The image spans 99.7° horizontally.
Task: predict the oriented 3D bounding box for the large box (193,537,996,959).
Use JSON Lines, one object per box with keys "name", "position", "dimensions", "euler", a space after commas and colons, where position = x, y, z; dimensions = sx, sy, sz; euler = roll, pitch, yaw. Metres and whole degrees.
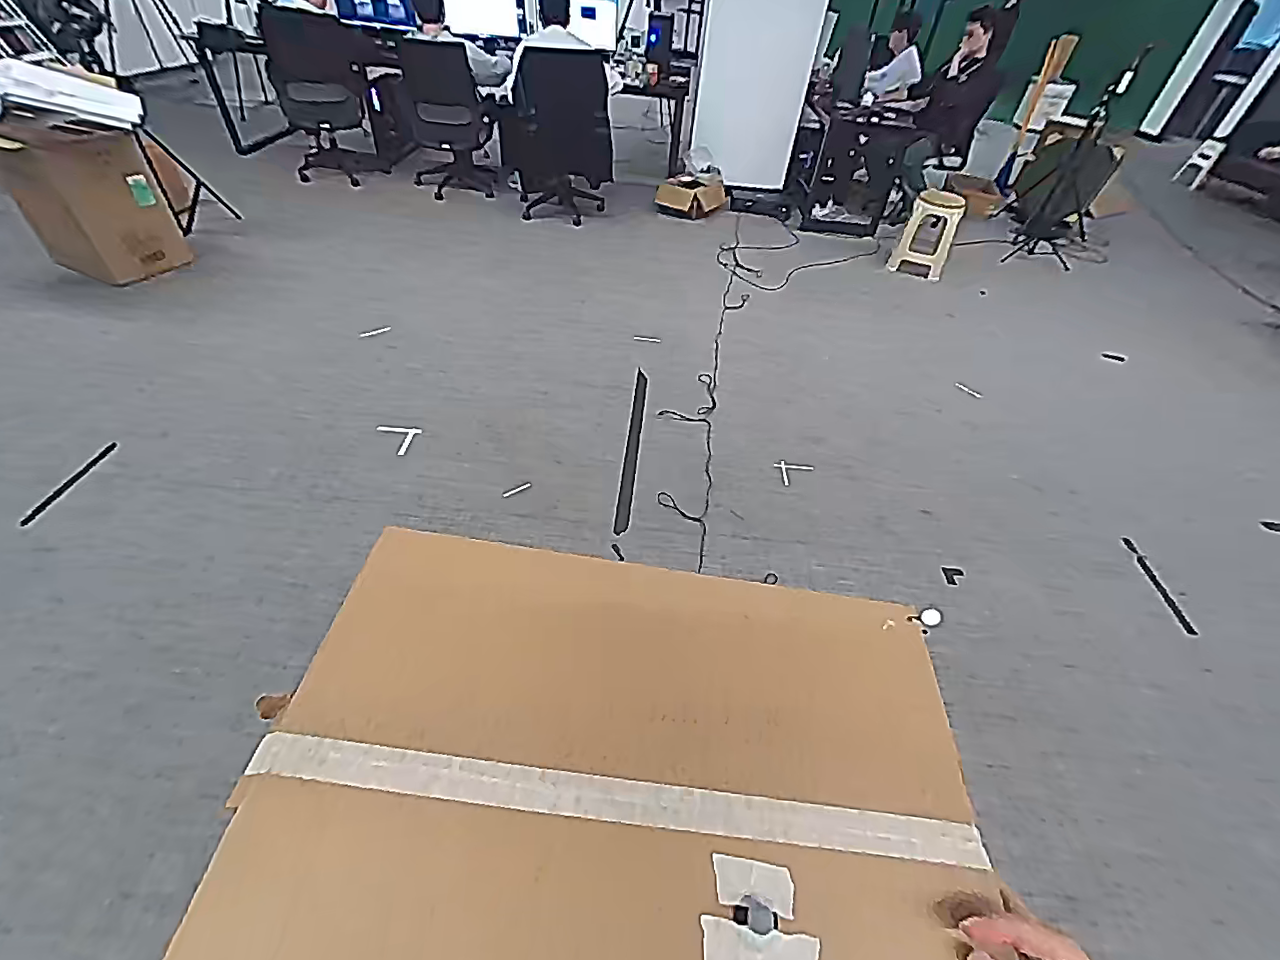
{"name": "large box", "position": [-0.024, 0.282, 0.425], "dimensions": [0.408, 0.320, 0.320], "euler": [10, 49, -3]}
